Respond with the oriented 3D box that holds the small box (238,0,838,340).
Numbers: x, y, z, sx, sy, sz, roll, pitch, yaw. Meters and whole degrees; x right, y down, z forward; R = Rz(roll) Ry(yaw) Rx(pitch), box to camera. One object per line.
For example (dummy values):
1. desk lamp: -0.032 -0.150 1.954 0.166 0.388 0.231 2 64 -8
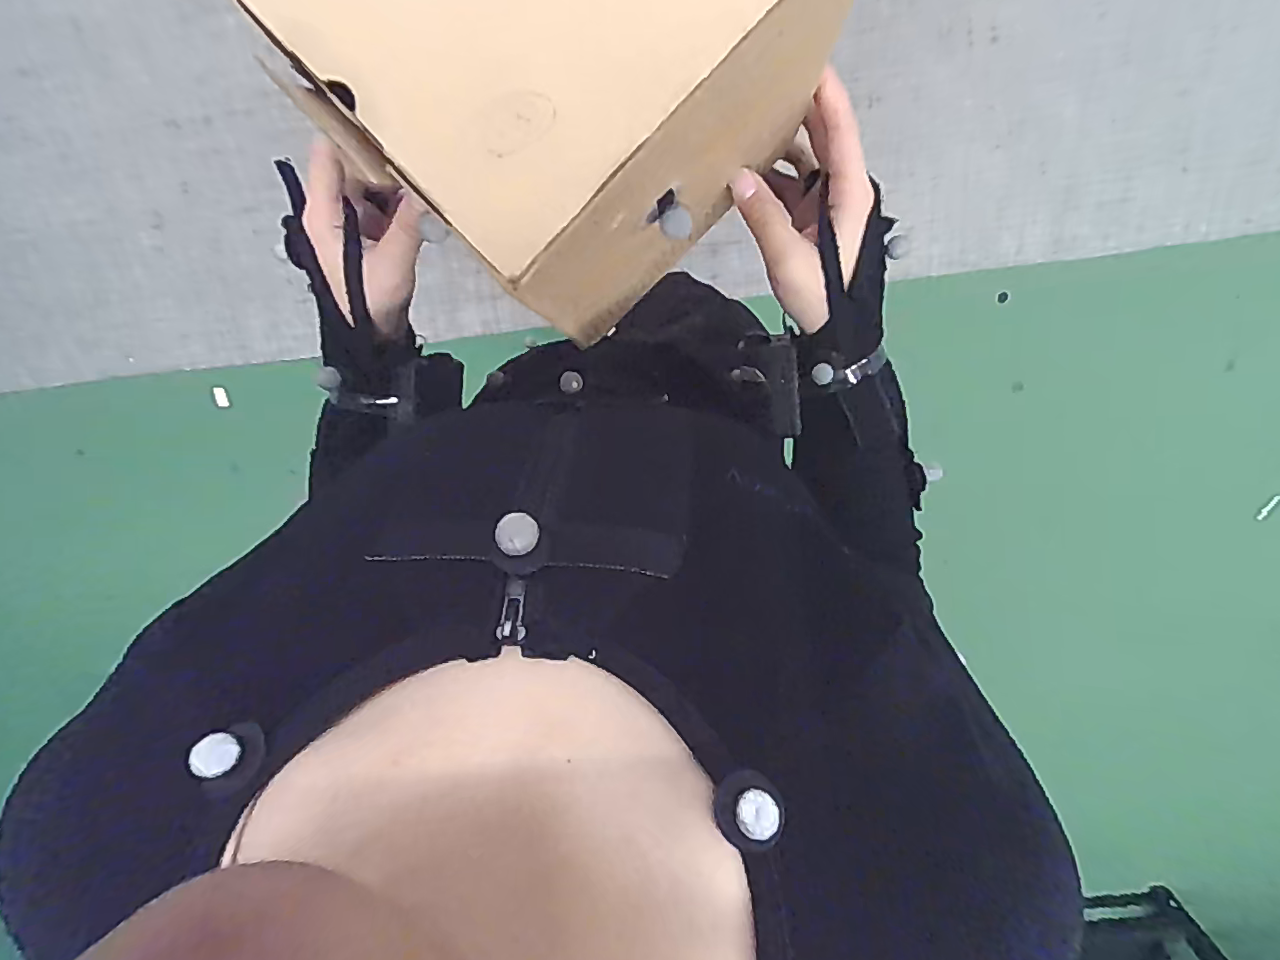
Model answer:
1. small box: -0.029 -0.191 0.263 0.179 0.176 0.168 -44 92 7
